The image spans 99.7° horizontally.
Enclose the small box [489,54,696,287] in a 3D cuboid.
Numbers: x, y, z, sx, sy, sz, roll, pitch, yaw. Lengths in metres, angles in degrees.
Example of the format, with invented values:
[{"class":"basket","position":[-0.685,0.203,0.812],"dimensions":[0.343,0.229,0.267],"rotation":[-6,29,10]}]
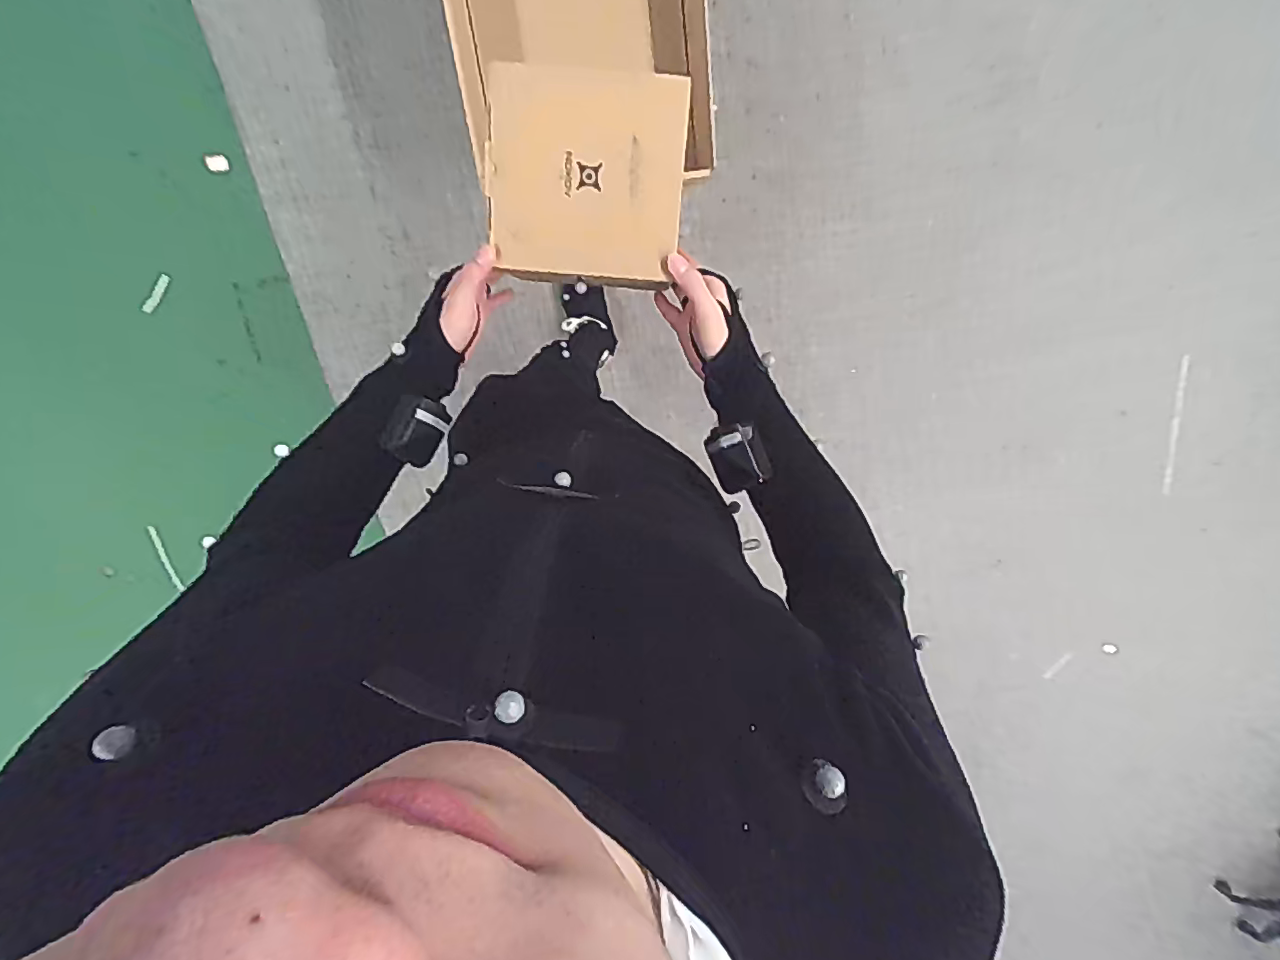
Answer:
[{"class":"small box","position":[-0.045,-0.295,0.554],"dimensions":[0.179,0.176,0.168],"rotation":[5,106,-2]}]
